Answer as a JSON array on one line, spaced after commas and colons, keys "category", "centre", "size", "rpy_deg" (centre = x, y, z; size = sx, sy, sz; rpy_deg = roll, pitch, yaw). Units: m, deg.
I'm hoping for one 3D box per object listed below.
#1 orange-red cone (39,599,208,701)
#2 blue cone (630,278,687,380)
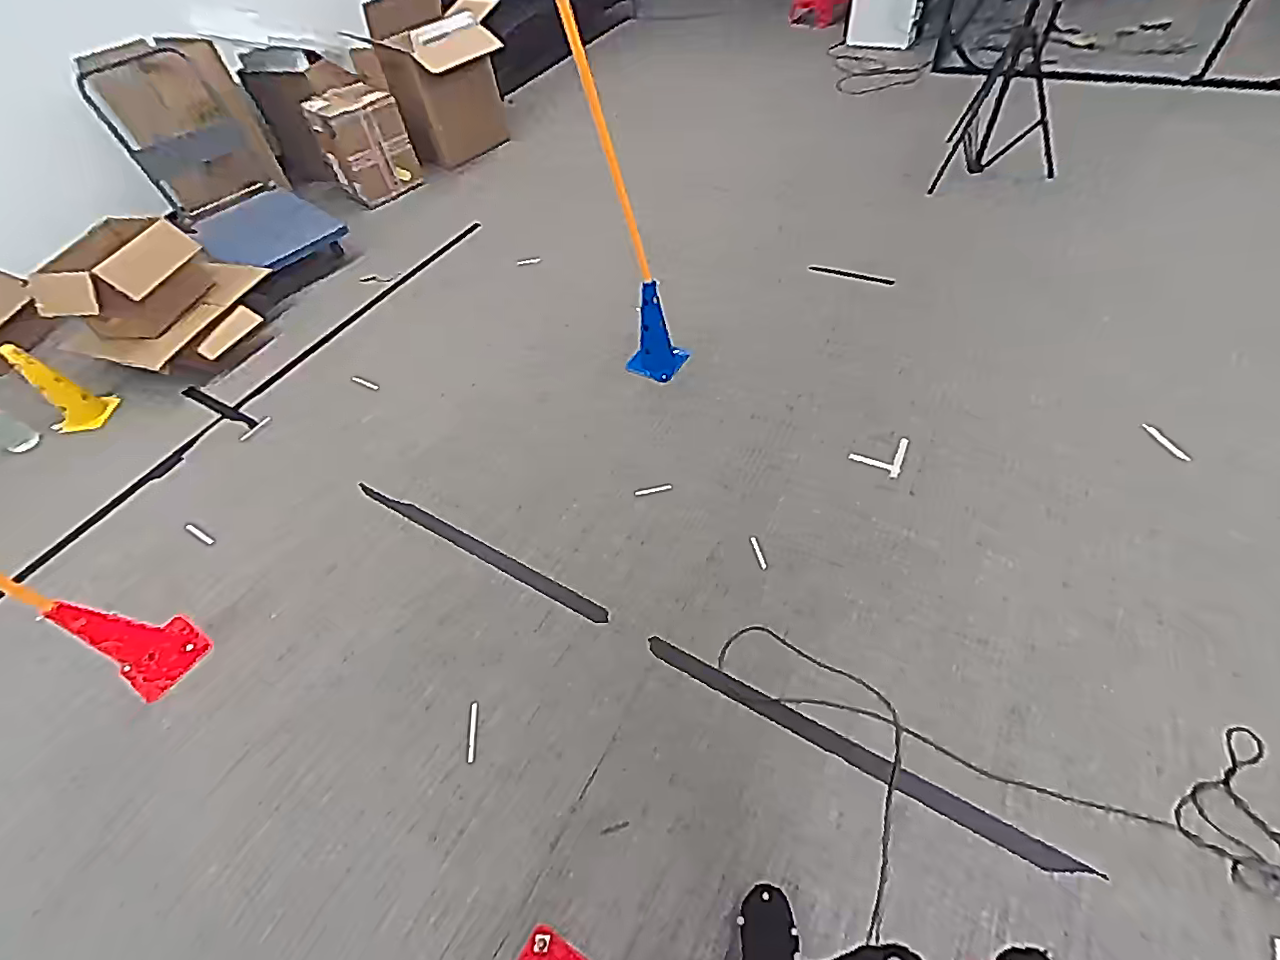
[{"category": "orange-red cone", "centre": [-1.397, 0.407, 1.428], "size": [0.199, 0.360, 0.198], "rpy_deg": [25, 59, 25]}, {"category": "blue cone", "centre": [0.055, -0.576, 2.007], "size": [0.192, 0.380, 0.193], "rpy_deg": [26, 60, 24]}]
